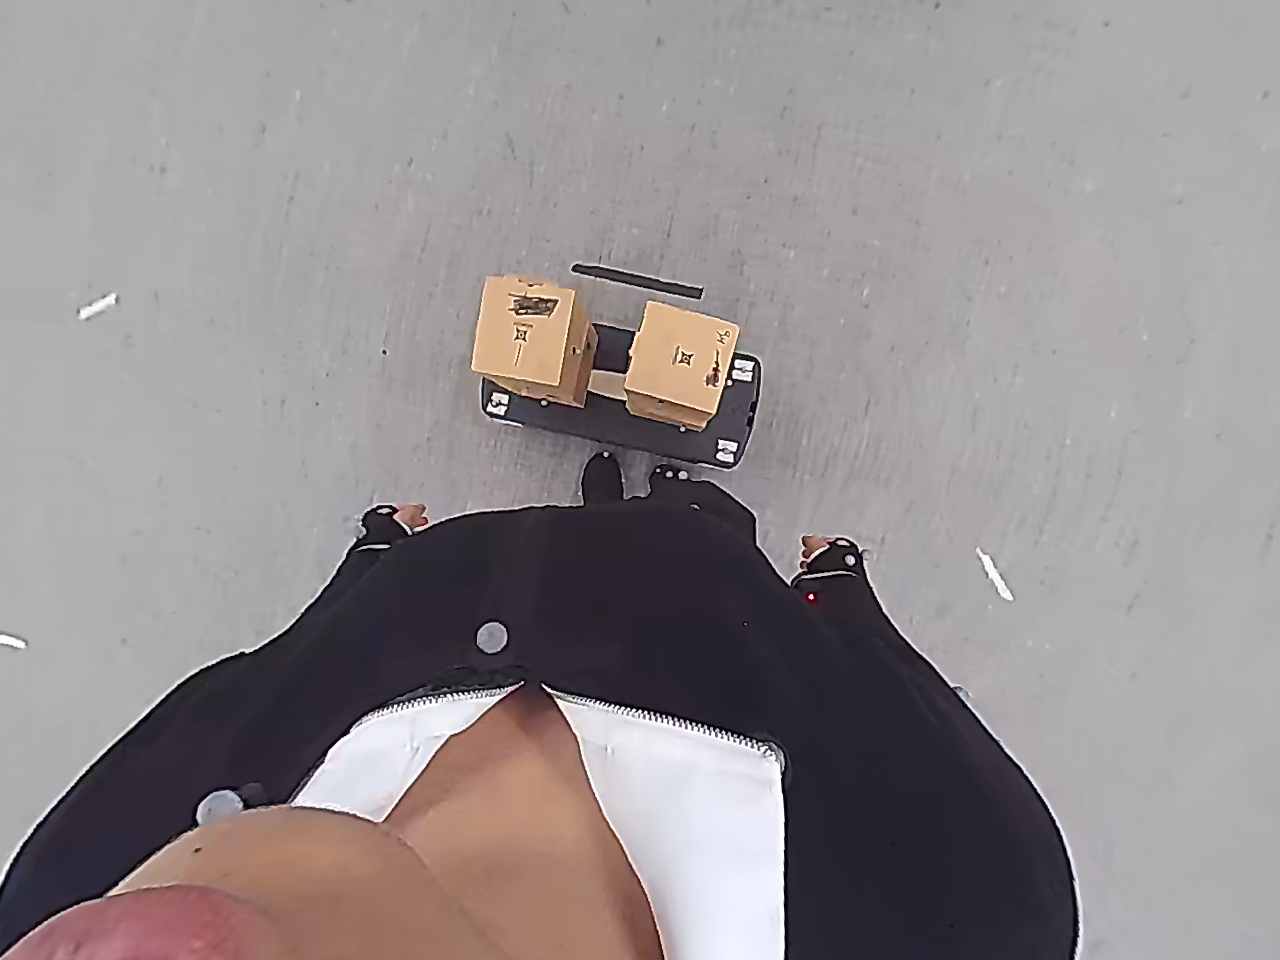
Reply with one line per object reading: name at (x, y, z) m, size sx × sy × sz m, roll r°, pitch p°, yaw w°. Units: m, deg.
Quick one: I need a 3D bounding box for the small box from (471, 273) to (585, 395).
small box at (-0.207, -0.272, 1.044) m, size 0.168 × 0.176 × 0.179 m, roll 11°, pitch 93°, yaw 1°

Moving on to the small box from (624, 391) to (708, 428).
small box at (0.075, -0.214, 1.204) m, size 0.179 × 0.176 × 0.168 m, roll 15°, pitch 93°, yaw 3°

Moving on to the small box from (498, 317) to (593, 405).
small box at (-0.200, -0.274, 1.208) m, size 0.168 × 0.176 × 0.179 m, roll 13°, pitch 93°, yaw 2°

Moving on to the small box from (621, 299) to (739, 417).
small box at (0.075, -0.223, 1.039) m, size 0.179 × 0.176 × 0.168 m, roll 16°, pitch 93°, yaw 2°
